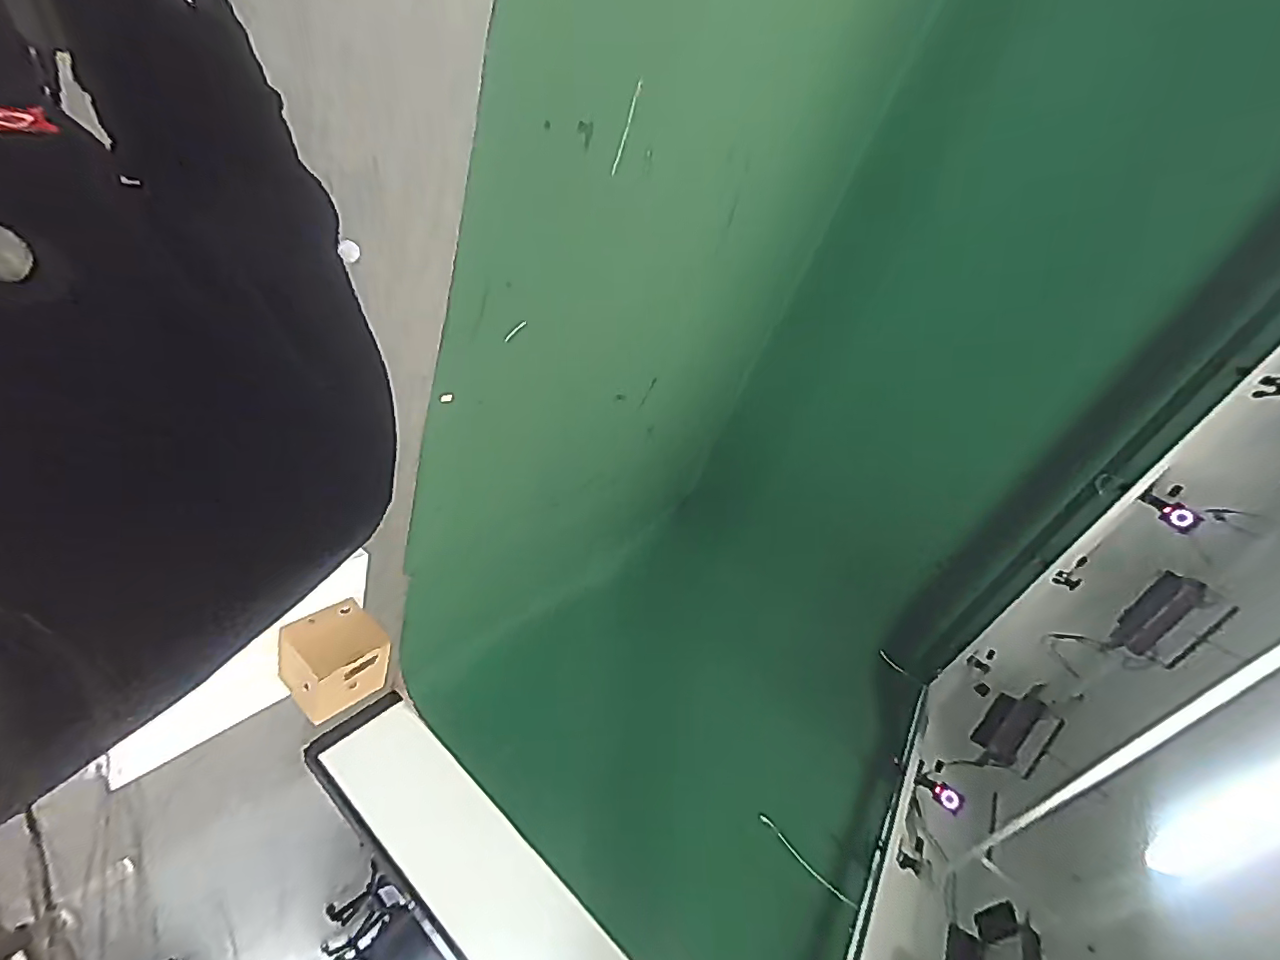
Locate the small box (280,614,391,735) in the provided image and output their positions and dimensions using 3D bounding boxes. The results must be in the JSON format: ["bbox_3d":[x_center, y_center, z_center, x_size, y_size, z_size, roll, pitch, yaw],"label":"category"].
[{"bbox_3d":[-0.706,0.436,1.249,0.168,0.176,0.179,-24,143,-52],"label":"small box"}]
